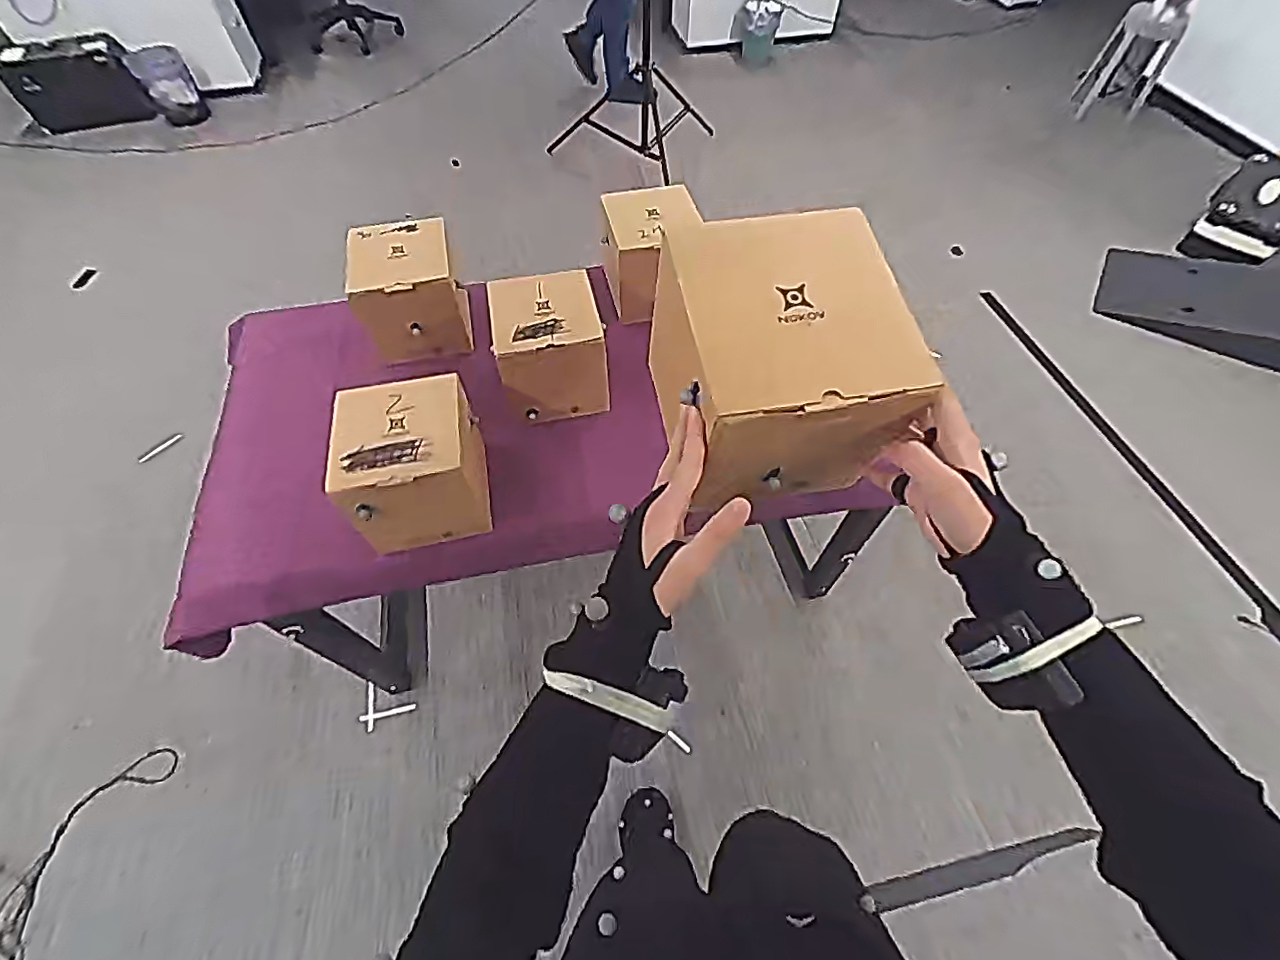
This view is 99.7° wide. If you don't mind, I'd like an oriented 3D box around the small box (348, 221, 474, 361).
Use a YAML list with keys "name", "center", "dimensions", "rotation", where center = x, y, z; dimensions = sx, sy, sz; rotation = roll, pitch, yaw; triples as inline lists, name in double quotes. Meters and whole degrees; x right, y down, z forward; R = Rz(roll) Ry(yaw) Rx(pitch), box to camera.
- name: "small box"
  center: [-0.408, -0.334, 0.984]
  dimensions: [0.168, 0.176, 0.179]
  rotation: [-11, 60, -8]

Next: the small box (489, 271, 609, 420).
- name: "small box"
  center: [-0.149, -0.218, 0.911]
  dimensions: [0.168, 0.176, 0.179]
  rotation: [-11, 57, -7]

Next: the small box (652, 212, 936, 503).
- name: "small box"
  center: [0.109, -0.099, 0.475]
  dimensions: [0.168, 0.176, 0.179]
  rotation: [-9, 67, -7]

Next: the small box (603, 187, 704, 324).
- name: "small box"
  center: [0.025, -0.431, 1.046]
  dimensions: [0.168, 0.176, 0.179]
  rotation: [-11, 59, -6]
